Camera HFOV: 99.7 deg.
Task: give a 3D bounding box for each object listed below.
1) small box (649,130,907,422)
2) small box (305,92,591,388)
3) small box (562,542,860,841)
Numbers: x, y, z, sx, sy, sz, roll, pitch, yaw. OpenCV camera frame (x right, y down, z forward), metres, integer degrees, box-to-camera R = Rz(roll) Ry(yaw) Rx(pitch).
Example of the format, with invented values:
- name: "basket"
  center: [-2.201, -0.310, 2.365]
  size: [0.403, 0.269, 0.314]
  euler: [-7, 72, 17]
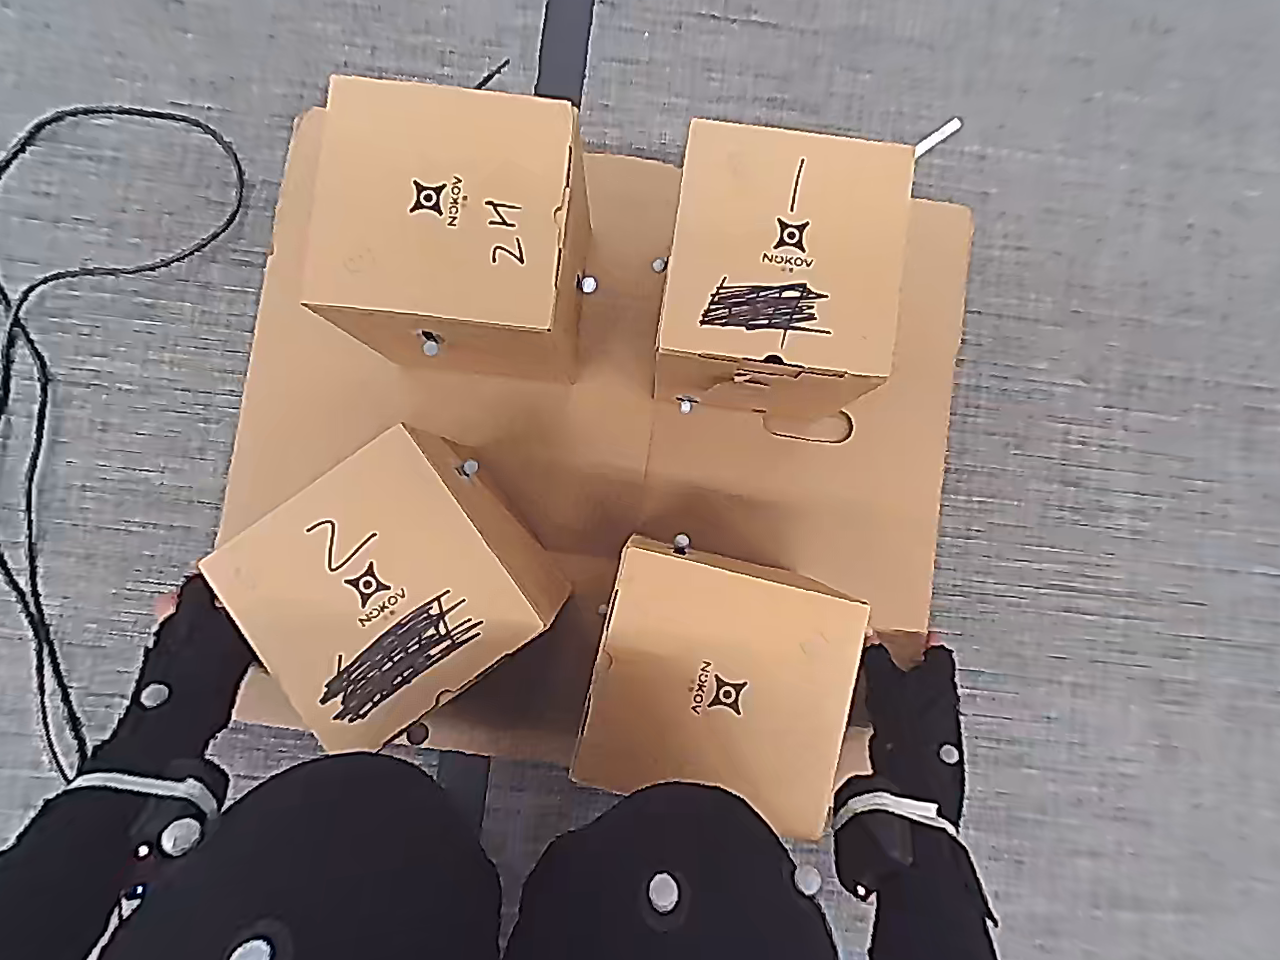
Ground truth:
- name: "small box"
  center: [0.103, -0.155, 0.469]
  size: [0.168, 0.176, 0.179]
  euler: [9, 86, 2]
- name: "small box"
  center: [-0.142, -0.183, 0.464]
  size: [0.179, 0.176, 0.168]
  euler: [7, 87, -2]
- name: "small box"
  center: [0.052, 0.150, 0.451]
  size: [0.179, 0.176, 0.168]
  euler: [14, 87, 3]
